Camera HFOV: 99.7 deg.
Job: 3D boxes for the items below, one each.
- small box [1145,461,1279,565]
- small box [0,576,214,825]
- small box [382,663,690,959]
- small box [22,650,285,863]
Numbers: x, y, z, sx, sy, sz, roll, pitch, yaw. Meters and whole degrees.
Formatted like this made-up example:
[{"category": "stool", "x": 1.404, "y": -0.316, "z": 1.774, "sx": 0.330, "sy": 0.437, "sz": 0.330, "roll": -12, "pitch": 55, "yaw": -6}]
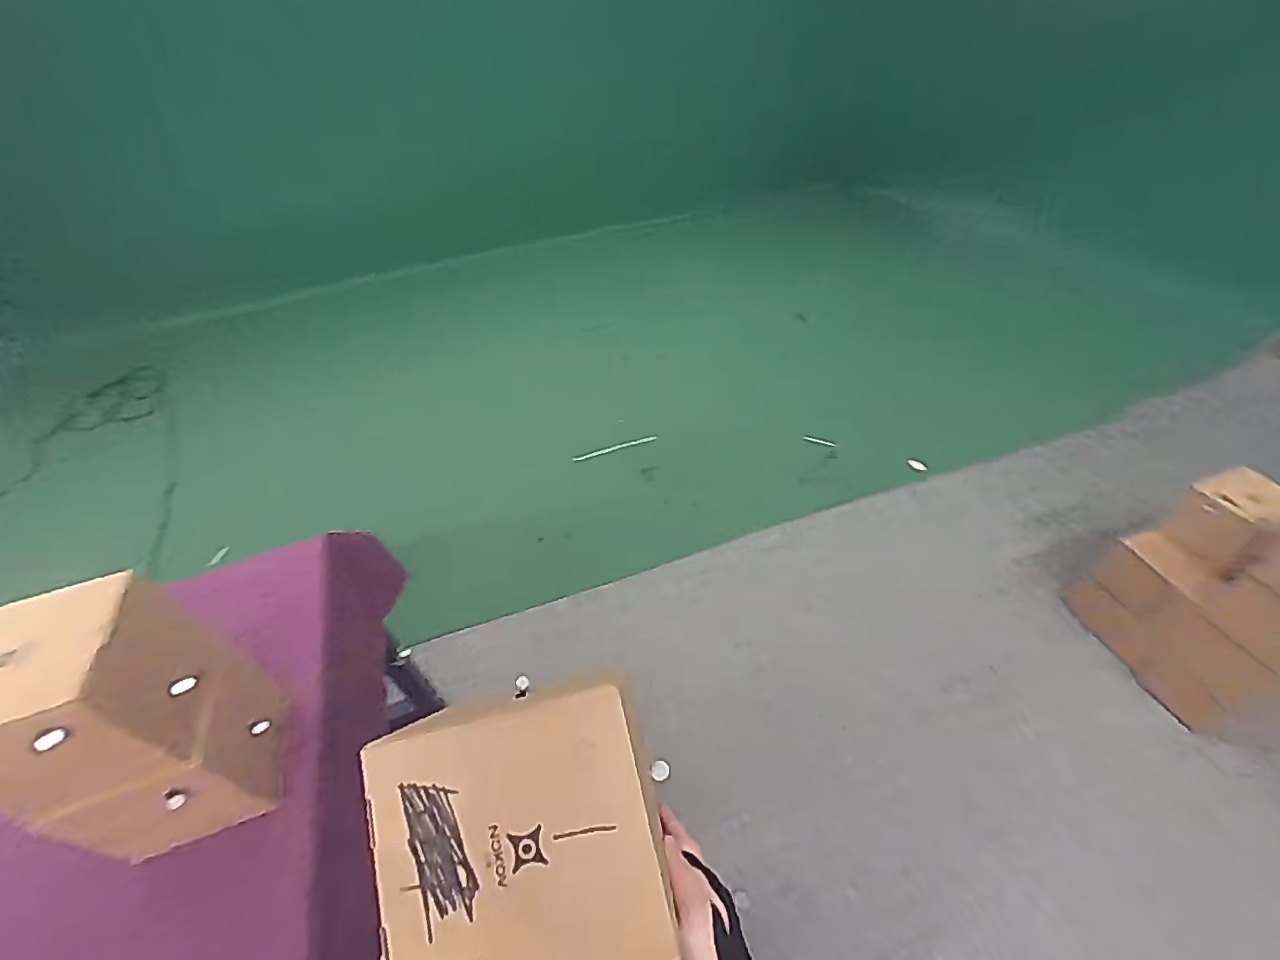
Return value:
[{"category": "small box", "x": 1.419, "y": 0.082, "z": 1.328, "sx": 0.179, "sy": 0.176, "sz": 0.168, "roll": -14, "pitch": 44, "yaw": -10}, {"category": "small box", "x": -0.622, "y": 0.241, "z": 0.591, "sx": 0.179, "sy": 0.176, "sz": 0.168, "roll": -17, "pitch": 45, "yaw": -12}, {"category": "small box", "x": -0.069, "y": 0.247, "z": 0.417, "sx": 0.179, "sy": 0.176, "sz": 0.168, "roll": -13, "pitch": 76, "yaw": -3}, {"category": "small box", "x": -0.599, "y": 0.358, "z": 0.702, "sx": 0.179, "sy": 0.176, "sz": 0.168, "roll": -19, "pitch": 45, "yaw": -11}]
